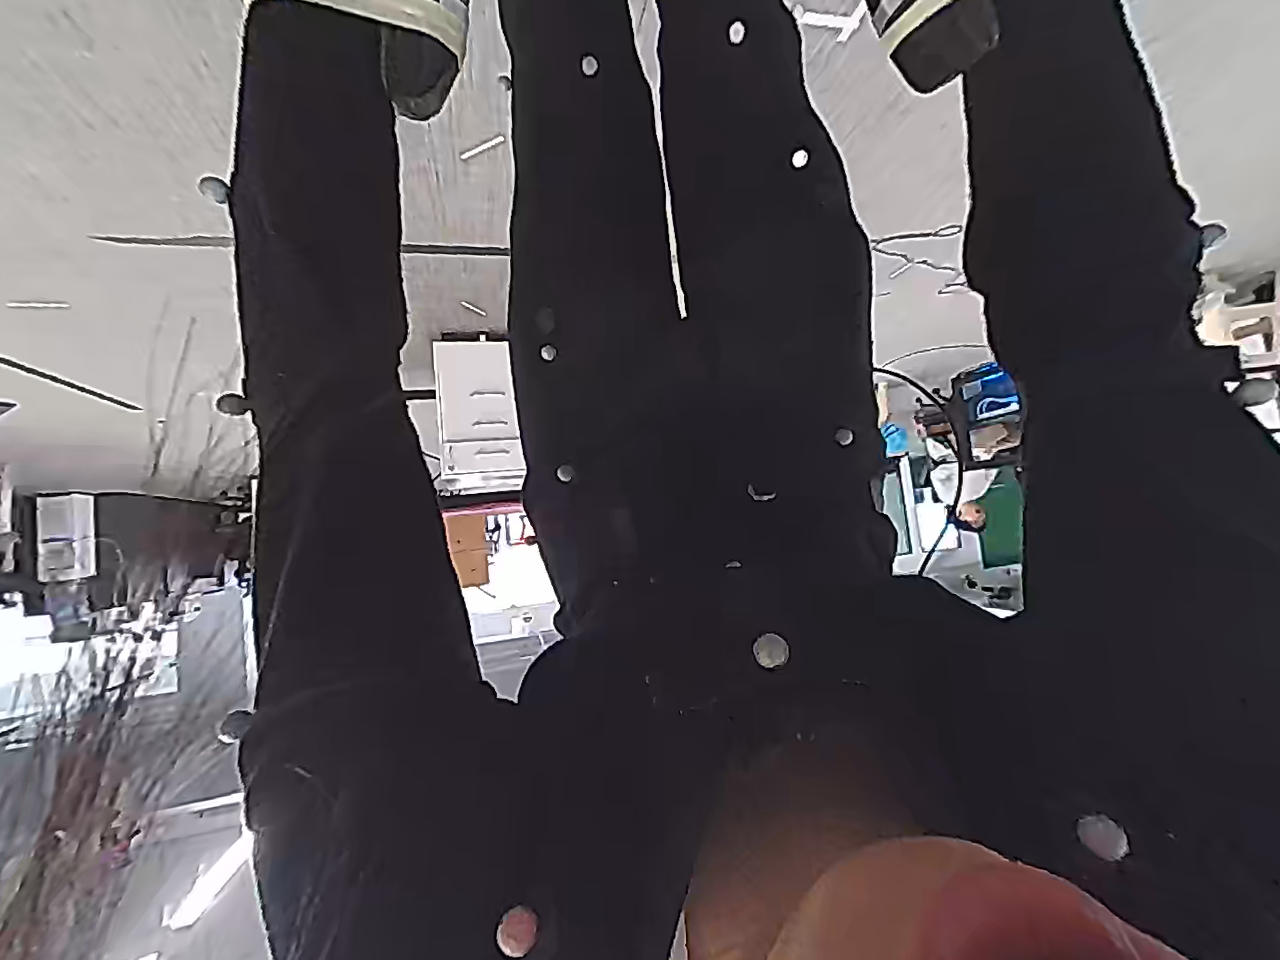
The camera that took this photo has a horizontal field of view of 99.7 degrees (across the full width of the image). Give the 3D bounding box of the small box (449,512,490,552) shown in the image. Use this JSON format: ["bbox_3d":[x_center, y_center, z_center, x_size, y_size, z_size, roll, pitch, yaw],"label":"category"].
[{"bbox_3d":[-0.809,0.247,2.556,0.179,0.176,0.168,-5,175,-19],"label":"small box"}]

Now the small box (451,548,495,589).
[{"bbox_3d":[-0.789,0.410,2.543,0.179,0.176,0.168,-6,174,-21],"label":"small box"}]
